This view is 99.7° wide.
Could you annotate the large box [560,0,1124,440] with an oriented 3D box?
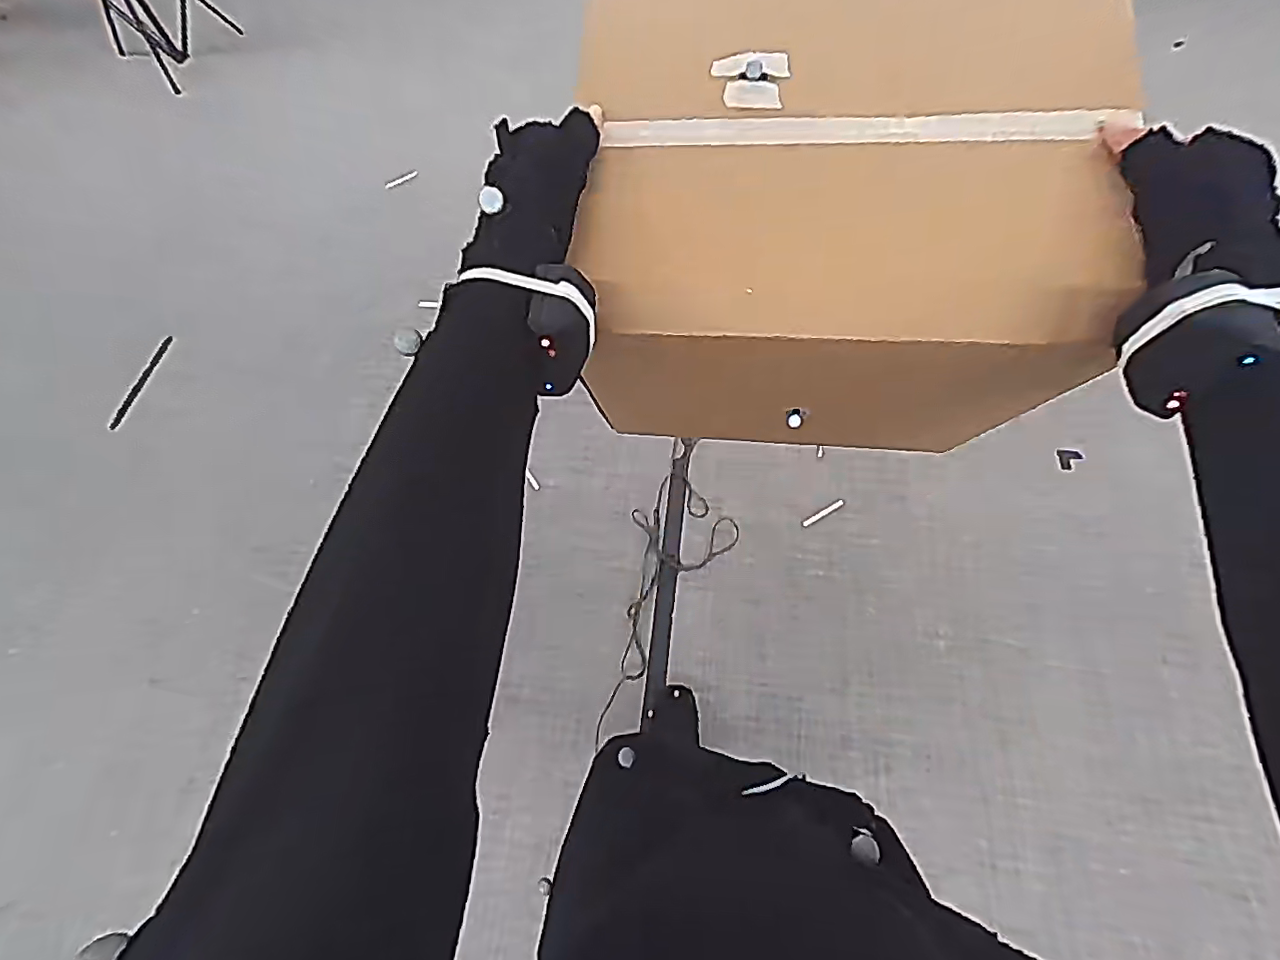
[{"bbox_3d":[0.166,-0.228,0.562,0.408,0.320,0.320,4,80,9],"label":"large box"}]
